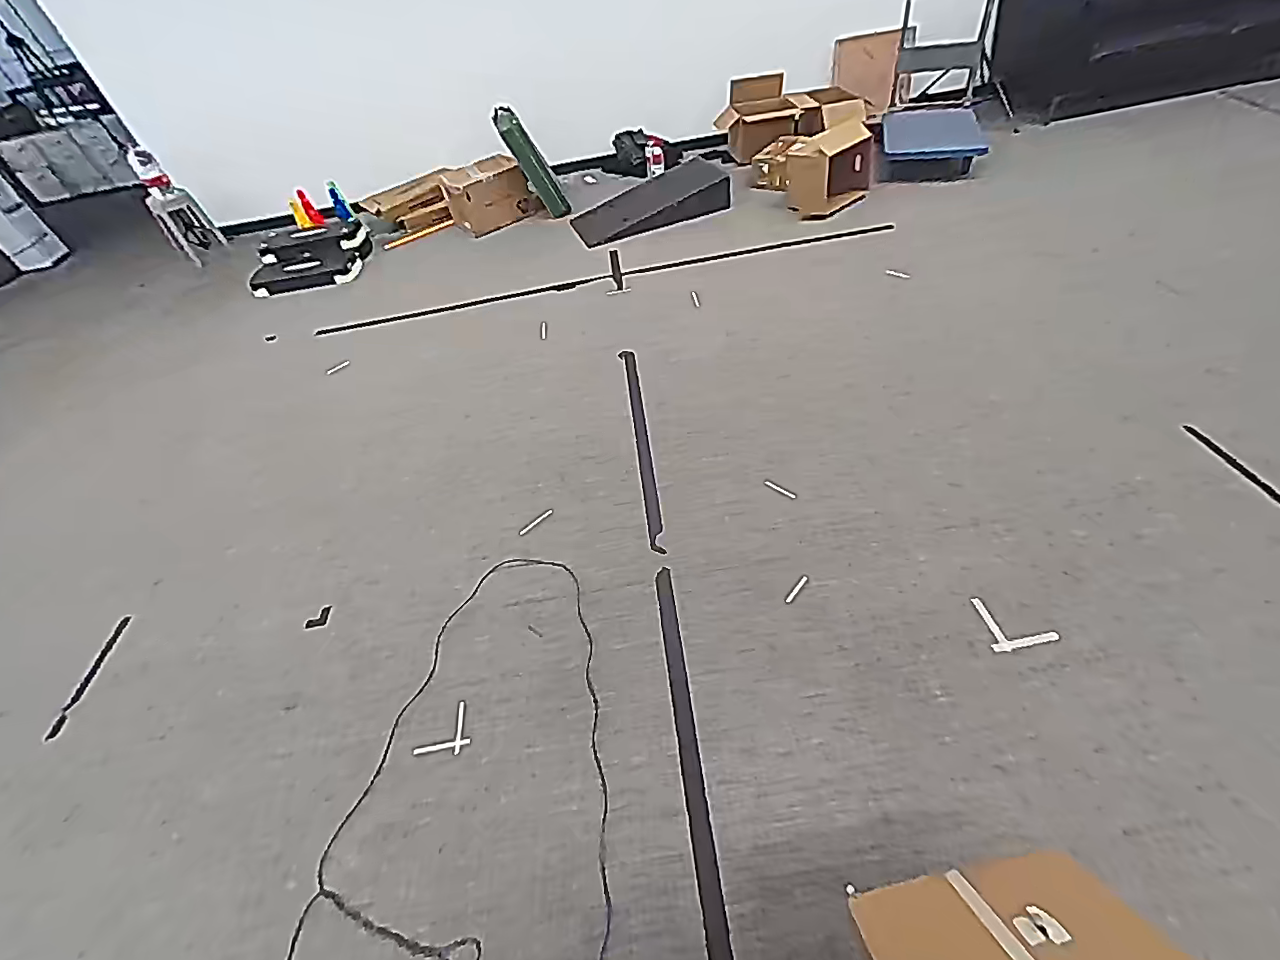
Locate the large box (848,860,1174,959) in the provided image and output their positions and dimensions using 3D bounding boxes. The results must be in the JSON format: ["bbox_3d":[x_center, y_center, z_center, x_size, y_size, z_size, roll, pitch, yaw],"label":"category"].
[{"bbox_3d":[0.482,0.711,0.577,0.320,0.408,0.320,-14,82,1],"label":"large box"}]
